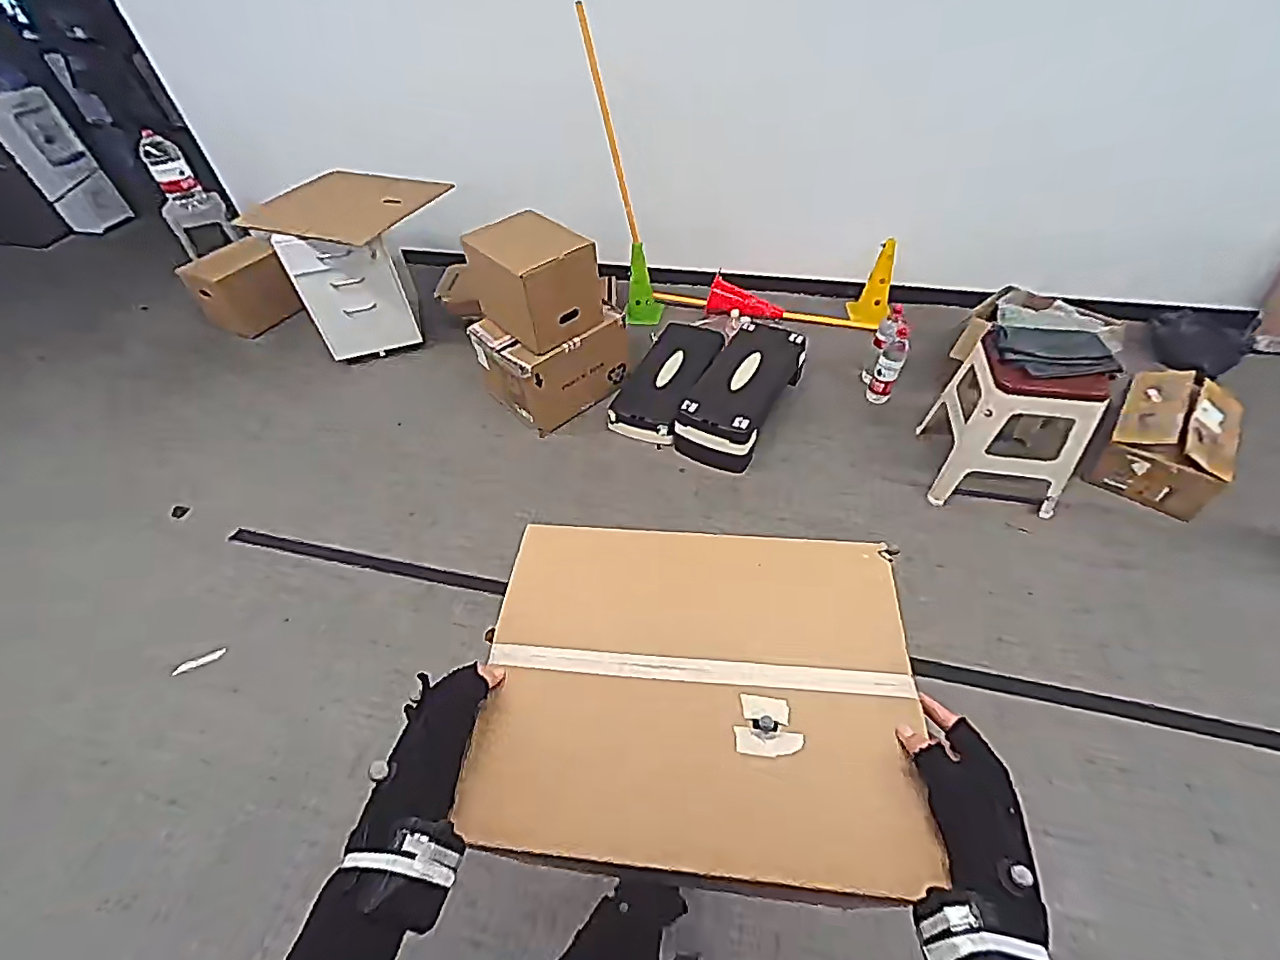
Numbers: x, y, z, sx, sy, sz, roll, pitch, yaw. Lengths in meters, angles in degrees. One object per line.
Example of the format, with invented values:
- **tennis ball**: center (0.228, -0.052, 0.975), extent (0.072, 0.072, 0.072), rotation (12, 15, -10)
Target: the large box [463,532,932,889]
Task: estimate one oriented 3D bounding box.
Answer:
- **large box**: center (0.060, 0.282, 0.659), extent (0.408, 0.320, 0.320), rotation (3, 53, 6)
